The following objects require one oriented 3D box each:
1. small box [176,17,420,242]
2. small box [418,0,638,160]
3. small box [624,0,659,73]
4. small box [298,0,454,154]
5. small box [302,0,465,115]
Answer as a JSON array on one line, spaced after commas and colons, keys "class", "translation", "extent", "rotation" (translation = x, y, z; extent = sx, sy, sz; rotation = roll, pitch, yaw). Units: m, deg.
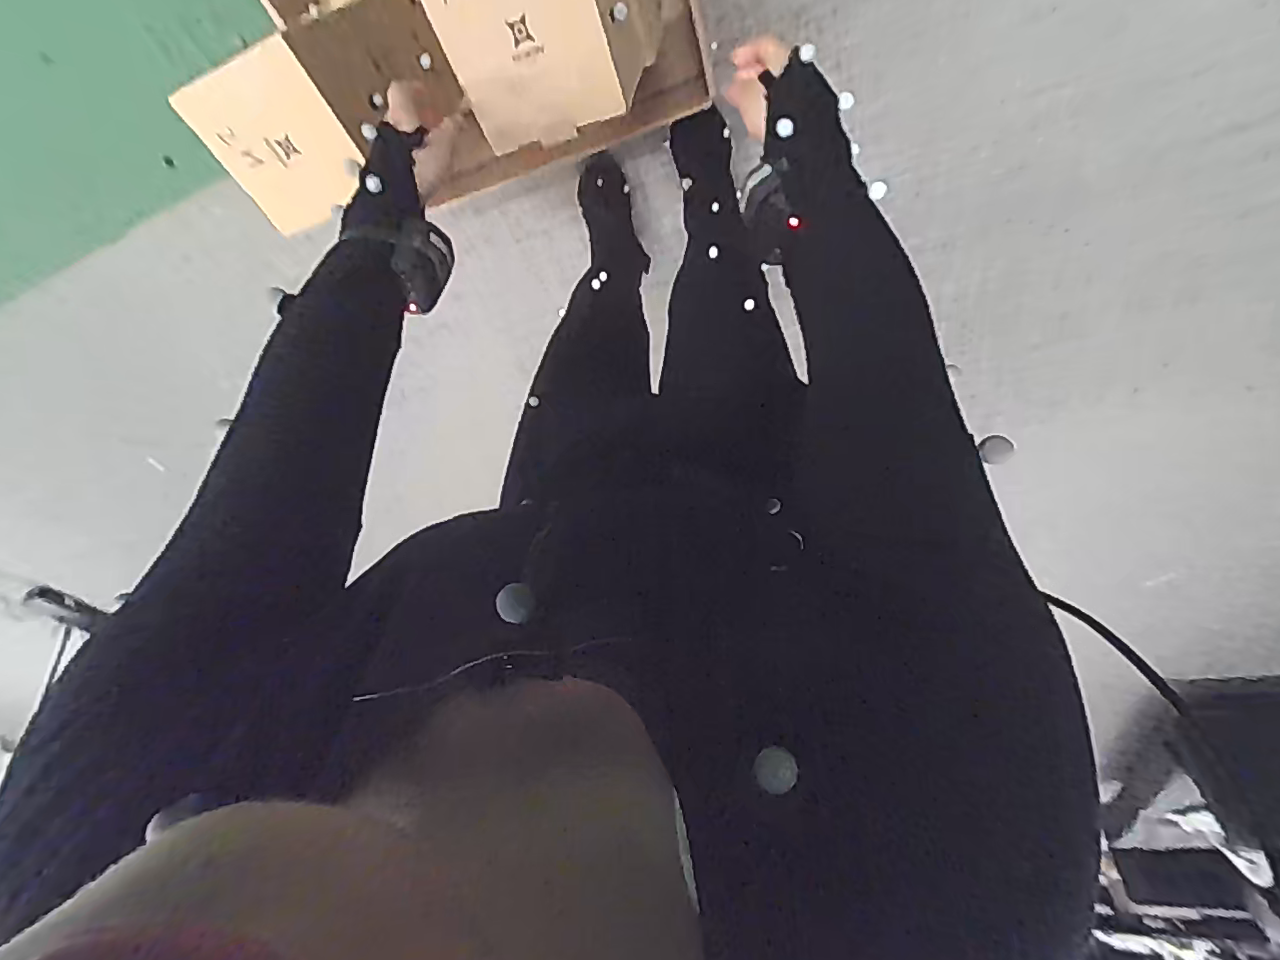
[{"class": "small box", "translation": [-0.407, -0.441, 0.683], "extent": [0.179, 0.176, 0.168], "rotation": [-11, 137, 18]}, {"class": "small box", "translation": [-0.107, -0.493, 0.586], "extent": [0.168, 0.176, 0.179], "rotation": [-7, 141, 17]}, {"class": "small box", "translation": [-0.085, -0.615, 0.695], "extent": [0.179, 0.176, 0.168], "rotation": [-11, 139, 20]}, {"class": "small box", "translation": [-0.406, -0.566, 0.791], "extent": [0.179, 0.176, 0.168], "rotation": [-11, 138, 18]}, {"class": "small box", "translation": [-0.393, -0.698, 0.888], "extent": [0.168, 0.176, 0.179], "rotation": [-11, 138, 18]}]
